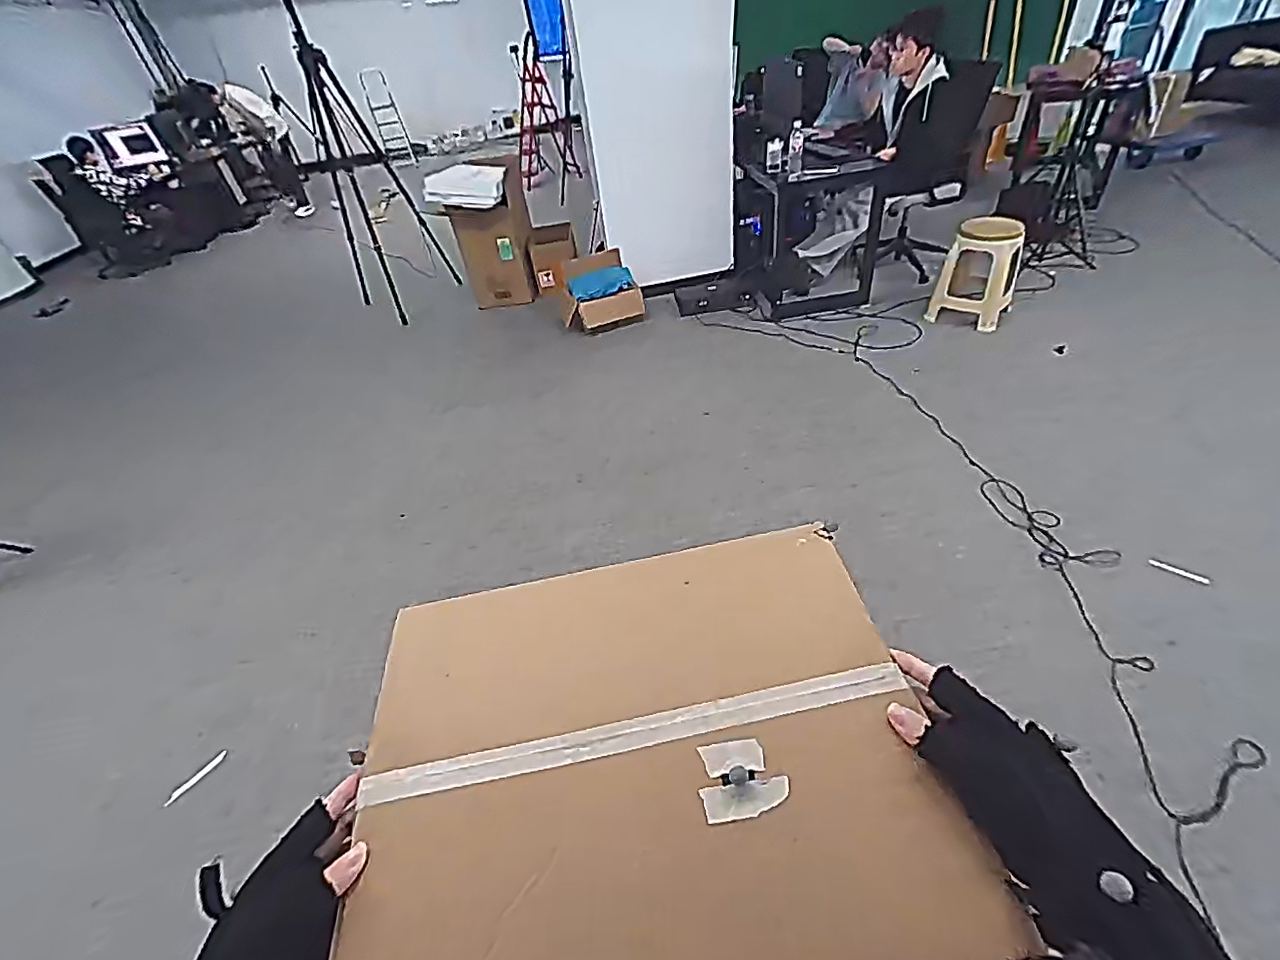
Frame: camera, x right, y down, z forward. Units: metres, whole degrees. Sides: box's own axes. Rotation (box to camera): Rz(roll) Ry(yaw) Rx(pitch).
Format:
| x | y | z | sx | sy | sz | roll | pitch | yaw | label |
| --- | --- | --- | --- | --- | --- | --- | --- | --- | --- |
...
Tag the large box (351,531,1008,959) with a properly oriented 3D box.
| x | y | z | sx | sy | sz | roll | pitch | yaw | label |
| --- | --- | --- | --- | --- | --- | --- | --- | --- | --- |
| 0.016 | 0.297 | 0.515 | 0.408 | 0.320 | 0.320 | -11 | 45 | -1 | large box |
